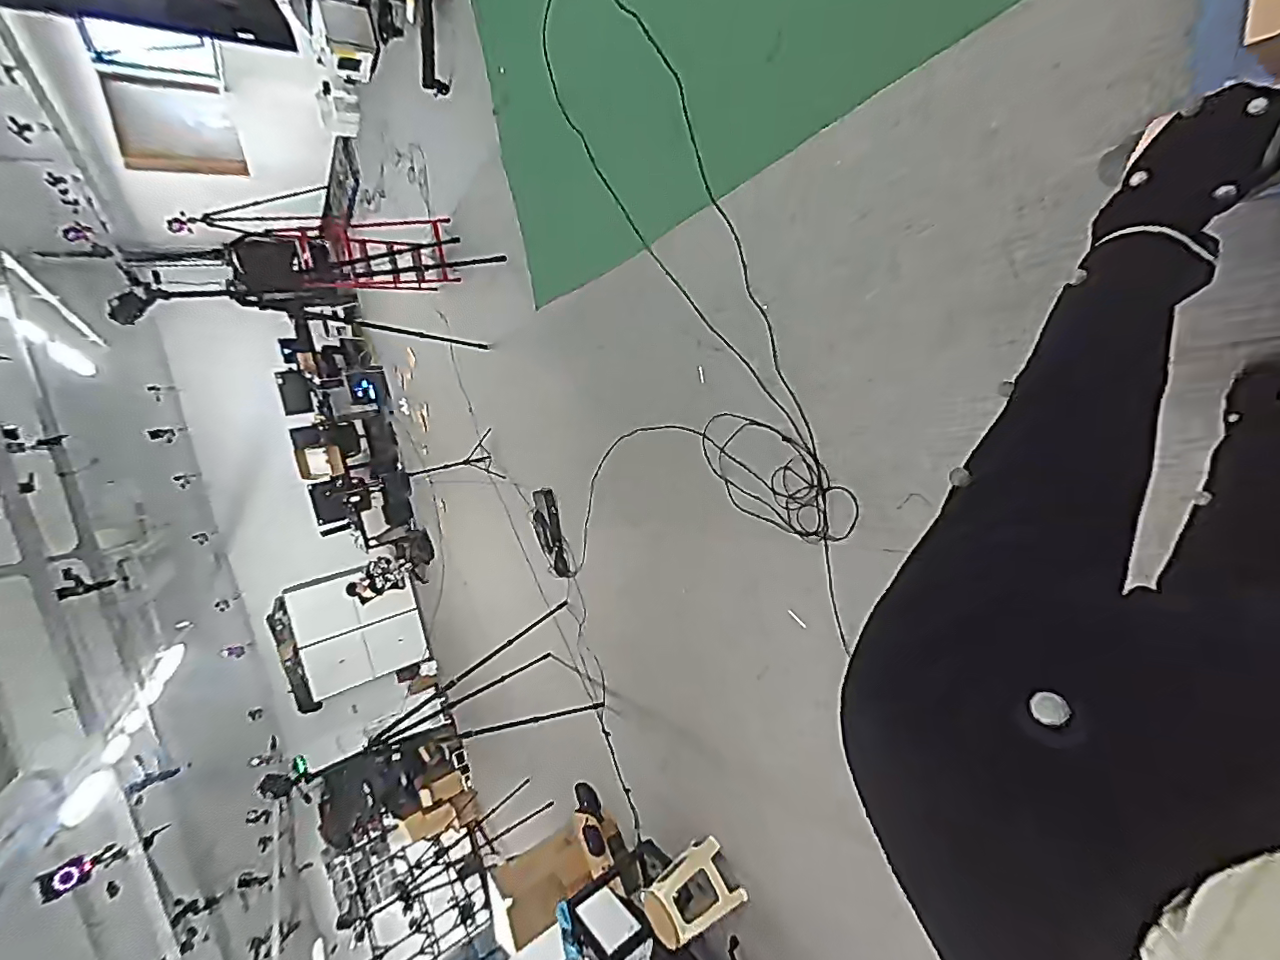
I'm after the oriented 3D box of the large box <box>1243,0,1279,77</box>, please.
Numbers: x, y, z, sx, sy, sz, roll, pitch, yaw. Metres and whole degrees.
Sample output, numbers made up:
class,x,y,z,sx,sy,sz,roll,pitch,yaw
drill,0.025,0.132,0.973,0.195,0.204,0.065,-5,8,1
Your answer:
class,x,y,z,sx,sy,sz,roll,pitch,yaw
large box,0.954,-0.752,0.601,0.320,0.320,0.408,13,113,53
